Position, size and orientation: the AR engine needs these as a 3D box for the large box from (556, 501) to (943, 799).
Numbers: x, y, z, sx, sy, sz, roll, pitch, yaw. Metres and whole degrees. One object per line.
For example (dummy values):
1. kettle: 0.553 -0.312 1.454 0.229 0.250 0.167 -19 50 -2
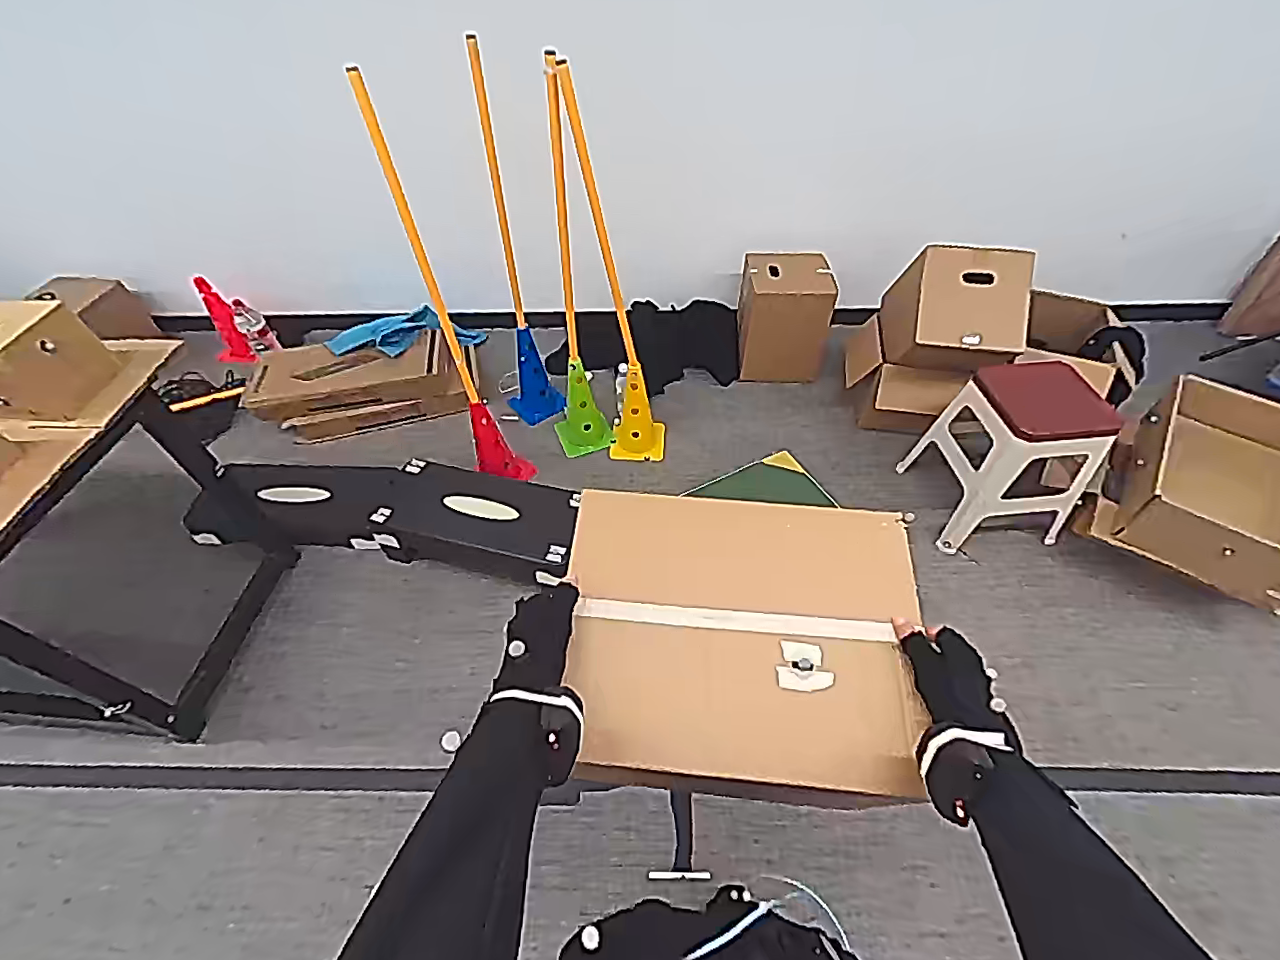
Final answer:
1. large box: 0.118 0.247 0.753 0.408 0.320 0.320 4 59 3
